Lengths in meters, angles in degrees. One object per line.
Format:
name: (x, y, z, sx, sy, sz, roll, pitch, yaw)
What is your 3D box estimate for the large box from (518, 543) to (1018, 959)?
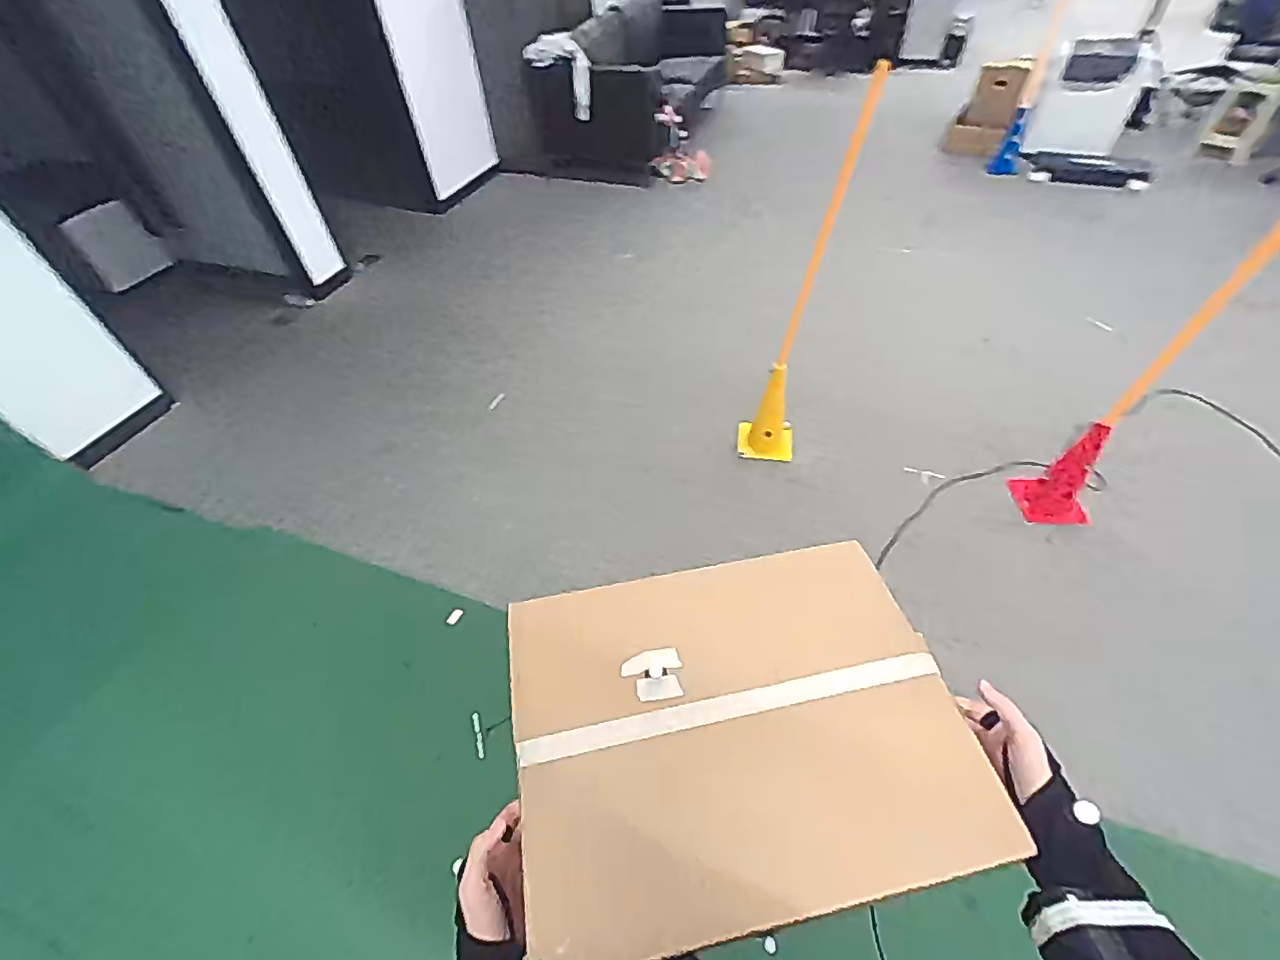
large box: (0.096, 0.315, 0.629, 0.408, 0.320, 0.320, -10, 49, -6)
